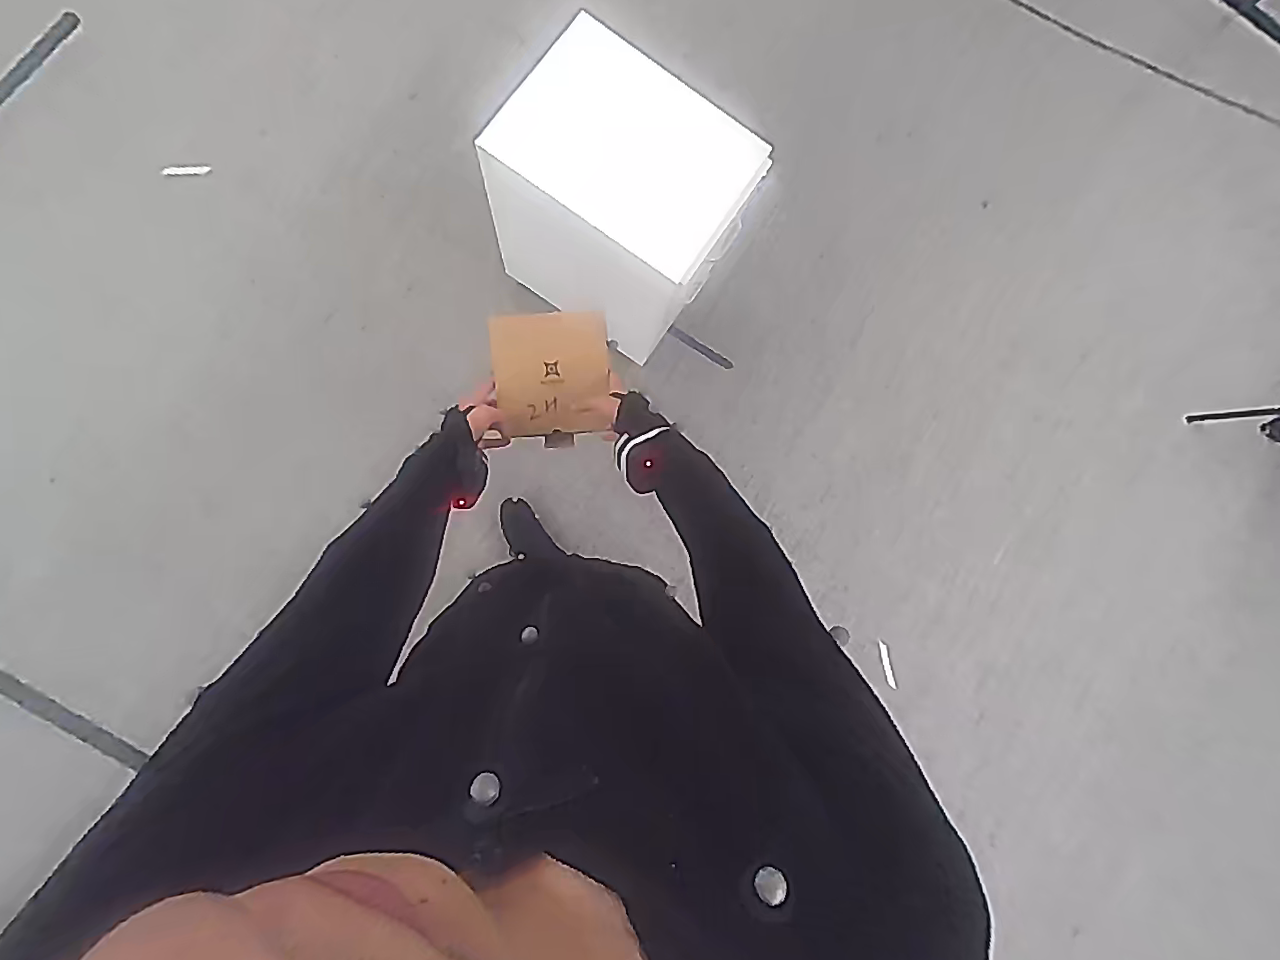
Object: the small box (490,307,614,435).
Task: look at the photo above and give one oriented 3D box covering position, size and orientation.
[{"bbox_3d":[-0.130,-0.166,0.856,0.168,0.176,0.179,-4,99,0],"label":"small box"}]
